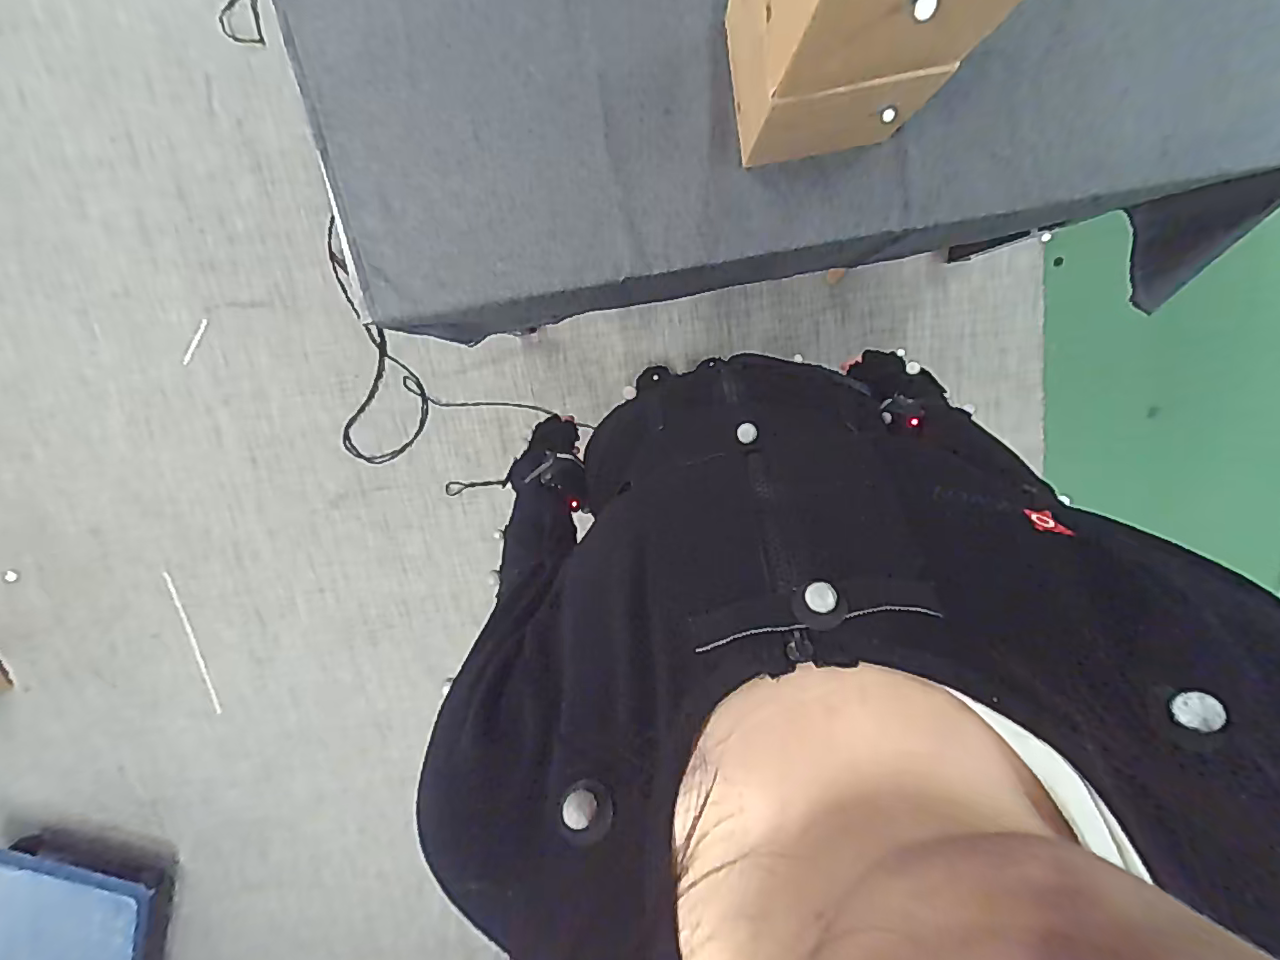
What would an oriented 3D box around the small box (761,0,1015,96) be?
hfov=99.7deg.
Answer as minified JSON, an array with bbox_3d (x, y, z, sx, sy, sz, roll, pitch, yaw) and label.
[{"bbox_3d":[0.194,-0.432,0.408,0.179,0.176,0.168,-10,101,4],"label":"small box"}]
